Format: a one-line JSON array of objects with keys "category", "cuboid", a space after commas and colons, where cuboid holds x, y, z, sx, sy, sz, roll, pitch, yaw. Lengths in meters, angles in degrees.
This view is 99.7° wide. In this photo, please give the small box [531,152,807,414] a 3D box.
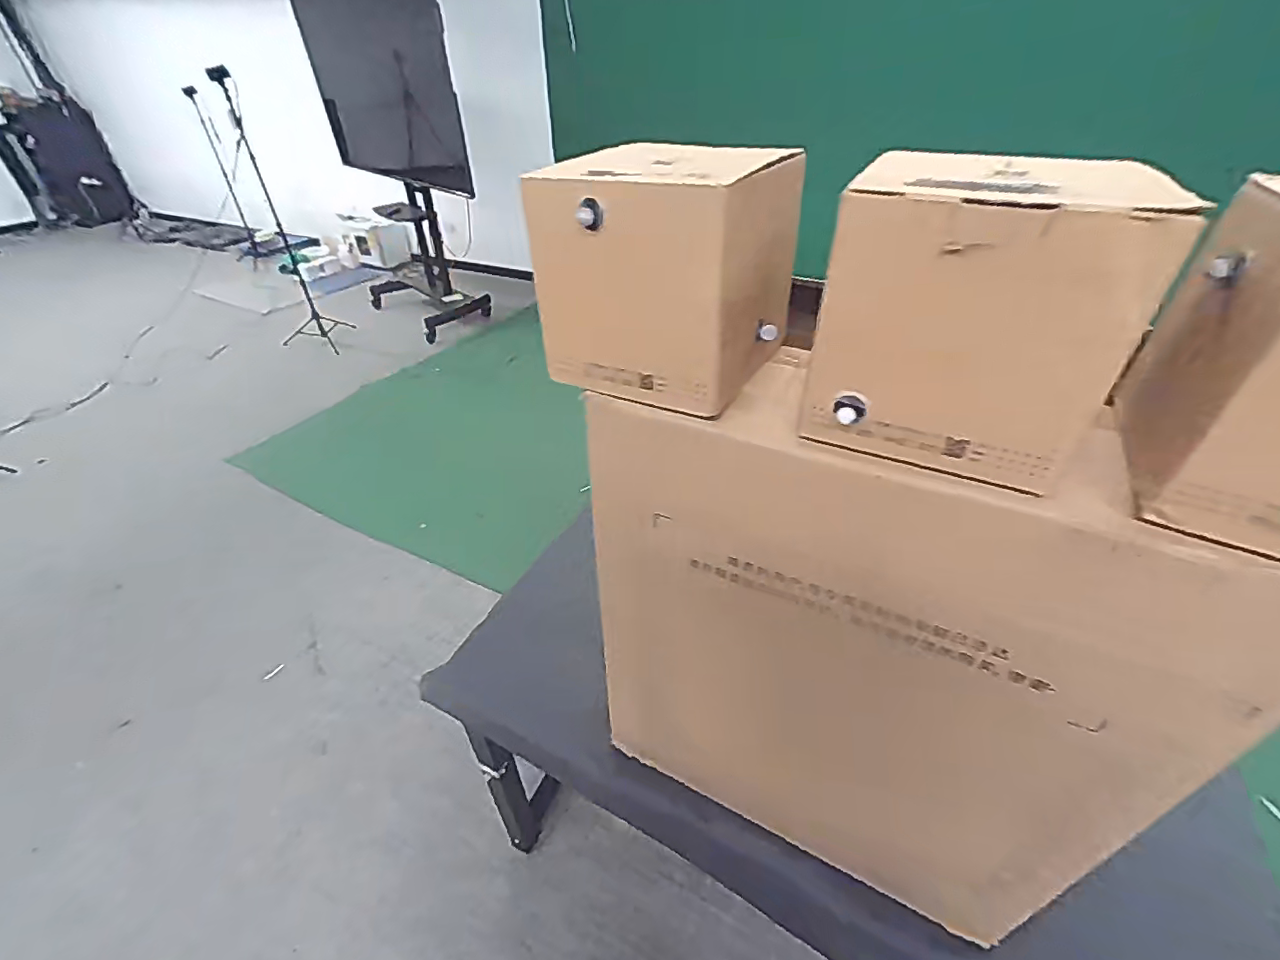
[{"category": "small box", "cuboid": [0.030, -0.180, 0.474, 0.168, 0.176, 0.179, 17, 40, 26]}]

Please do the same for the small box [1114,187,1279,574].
[{"category": "small box", "cuboid": [0.414, -0.052, 0.309, 0.168, 0.176, 0.179, 18, 42, 23]}]
